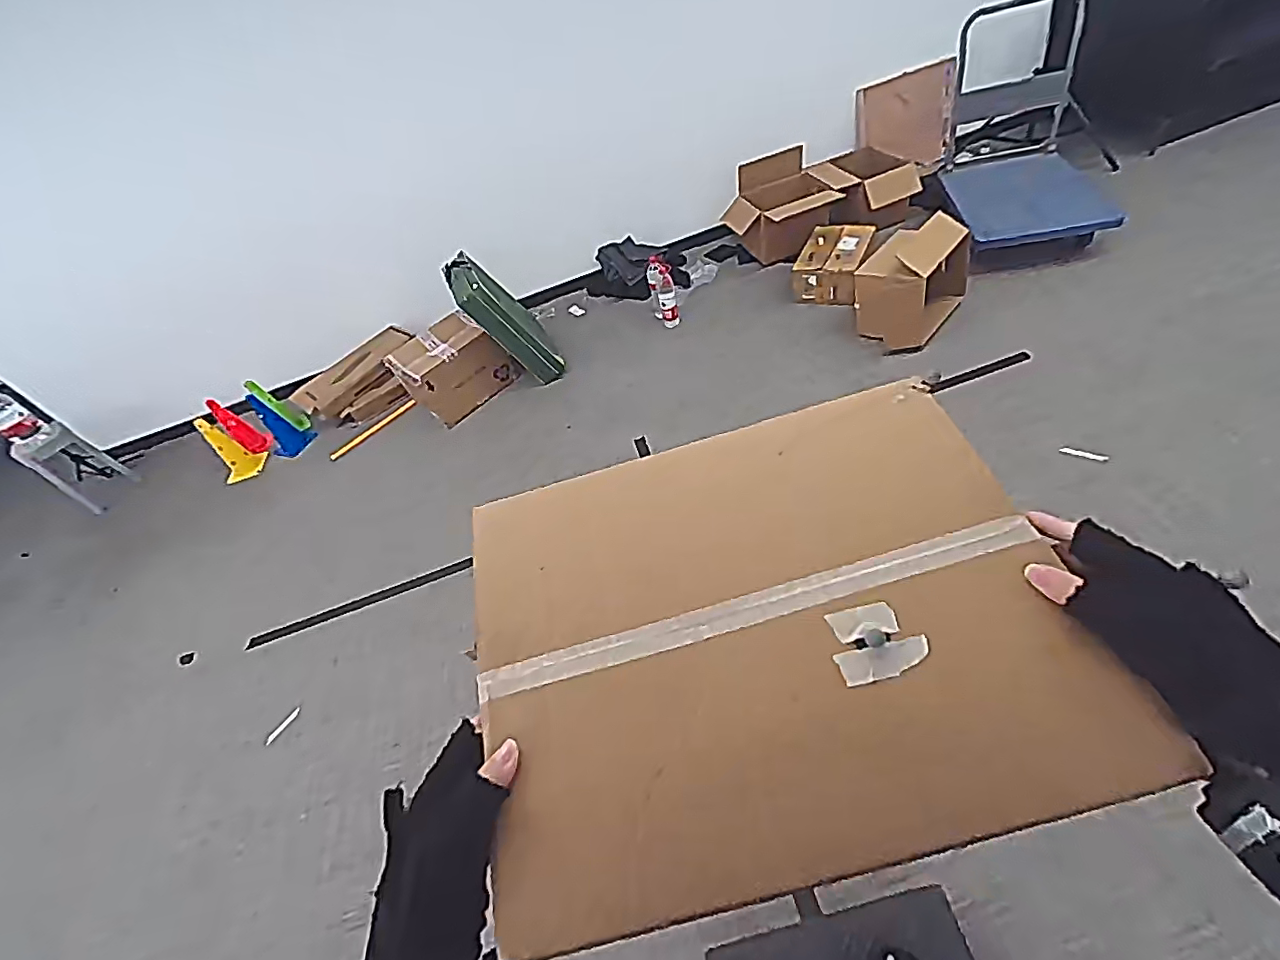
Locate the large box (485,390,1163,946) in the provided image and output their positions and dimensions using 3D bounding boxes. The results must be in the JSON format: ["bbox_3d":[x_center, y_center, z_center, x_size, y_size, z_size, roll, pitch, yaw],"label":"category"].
[{"bbox_3d":[0.108,0.178,0.522,0.408,0.320,0.320,-17,56,1],"label":"large box"}]
